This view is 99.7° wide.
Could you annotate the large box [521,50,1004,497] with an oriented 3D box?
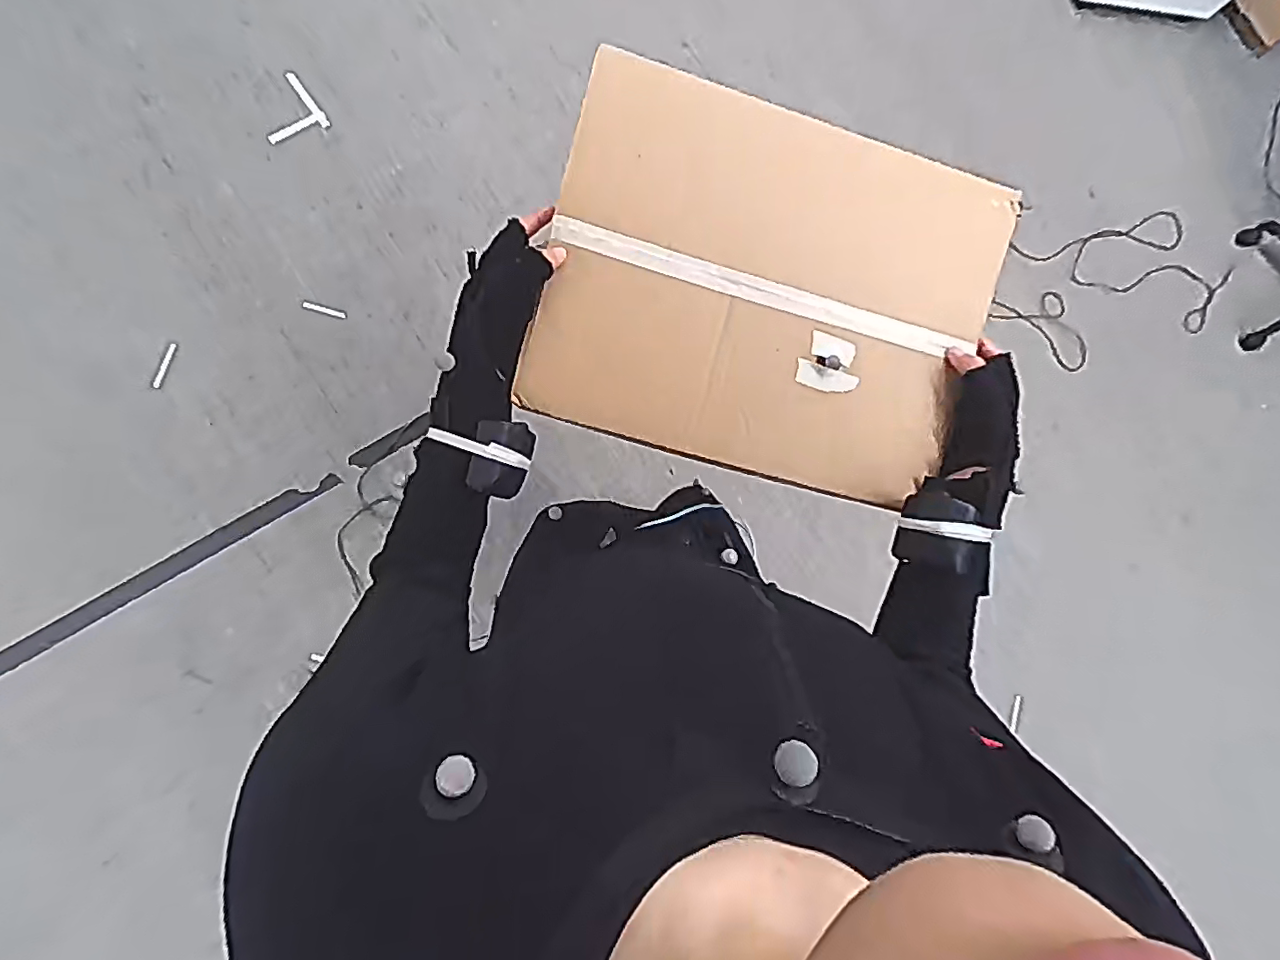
[{"bbox_3d":[0.102,-0.191,0.645,0.408,0.320,0.320,15,95,-8],"label":"large box"}]
